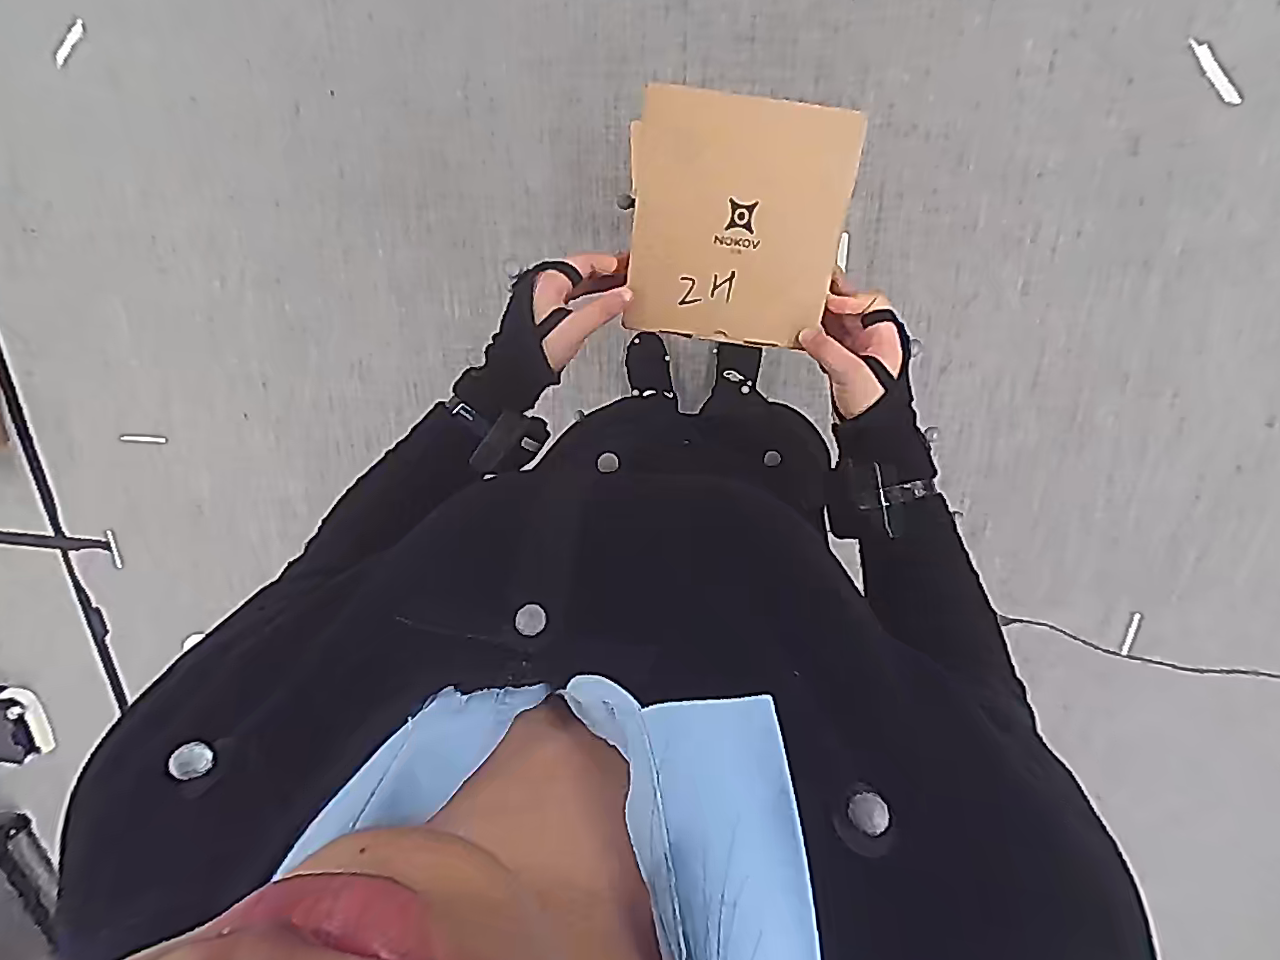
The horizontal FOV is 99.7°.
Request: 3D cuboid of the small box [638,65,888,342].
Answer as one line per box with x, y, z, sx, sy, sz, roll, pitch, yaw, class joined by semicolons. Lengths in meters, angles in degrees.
0.089;-0.236;0.489;0.168;0.176;0.179;7;114;-2;small box
